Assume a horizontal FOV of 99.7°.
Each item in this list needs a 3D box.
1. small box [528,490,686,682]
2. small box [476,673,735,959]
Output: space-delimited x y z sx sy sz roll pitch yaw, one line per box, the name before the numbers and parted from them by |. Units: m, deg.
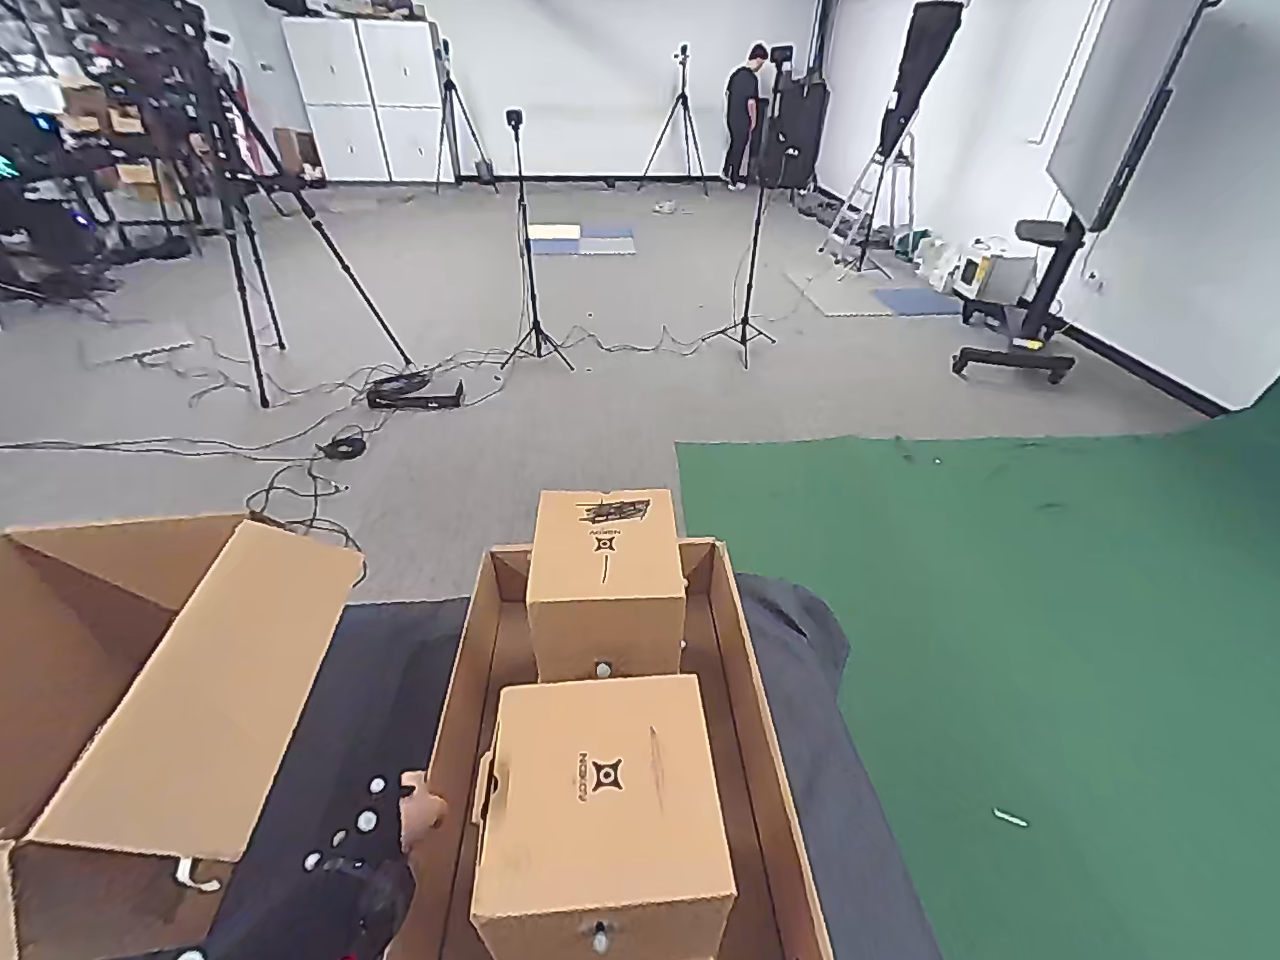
small box | -0.038 0.131 0.667 0.168 0.176 0.179 -1 40 -2
small box | -0.028 0.291 0.467 0.179 0.176 0.168 -2 38 -4
